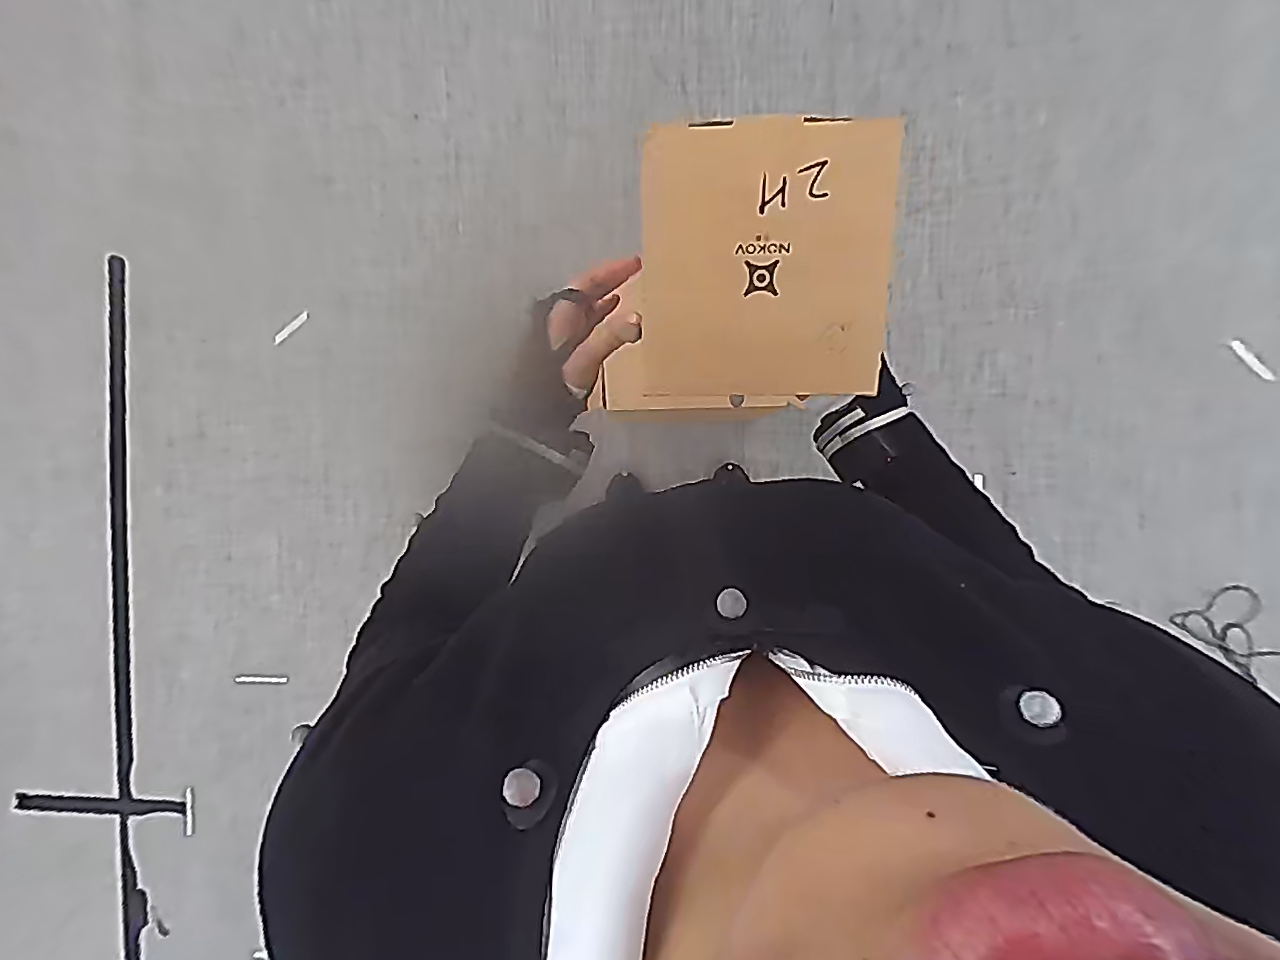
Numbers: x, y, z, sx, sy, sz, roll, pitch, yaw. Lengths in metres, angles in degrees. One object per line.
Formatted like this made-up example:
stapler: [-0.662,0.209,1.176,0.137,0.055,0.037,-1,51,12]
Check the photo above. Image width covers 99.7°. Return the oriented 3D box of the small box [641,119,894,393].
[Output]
small box: [0.088,-0.167,0.449,0.168,0.176,0.179,0,103,3]
